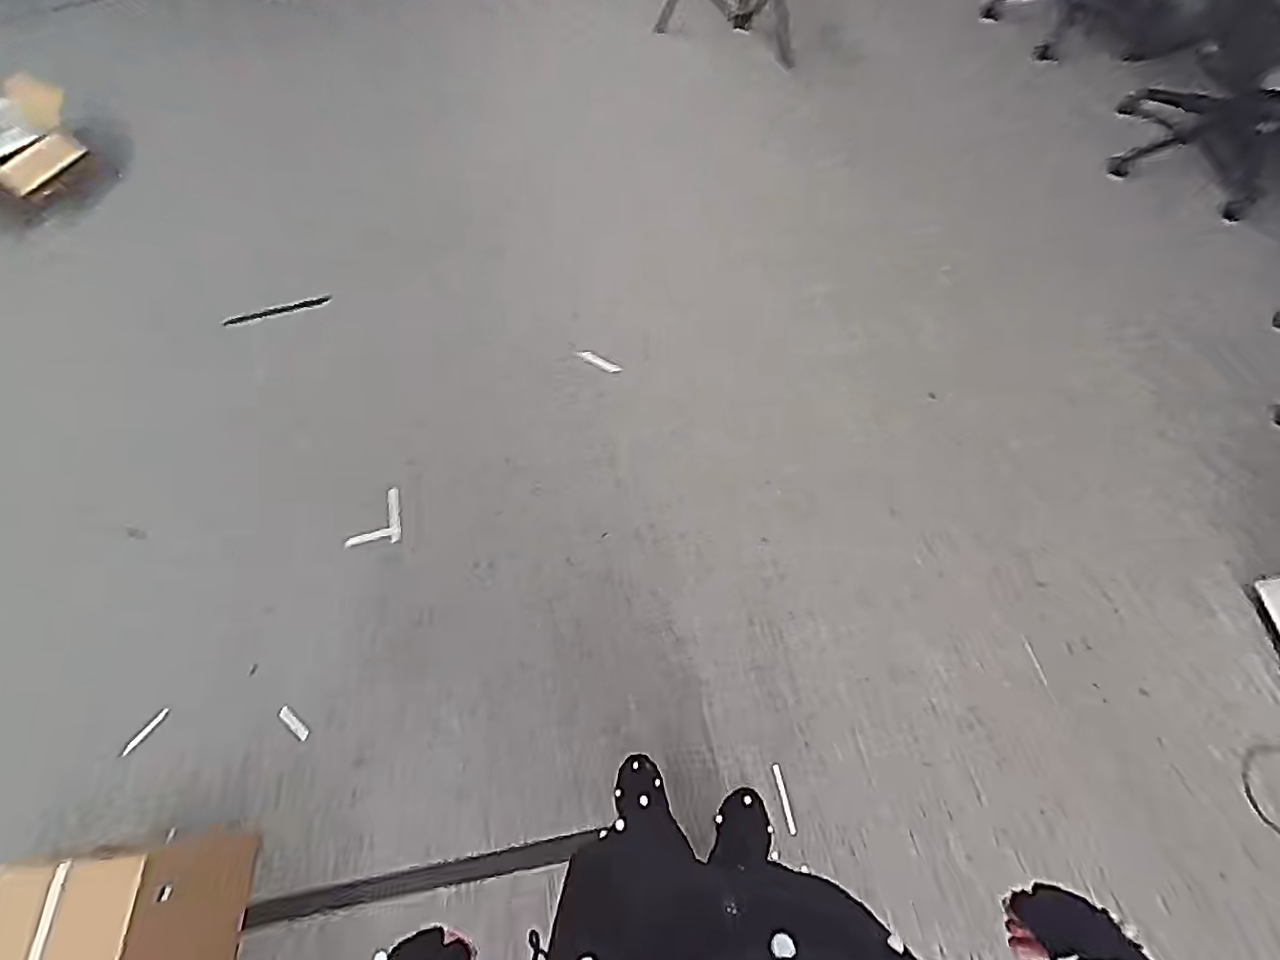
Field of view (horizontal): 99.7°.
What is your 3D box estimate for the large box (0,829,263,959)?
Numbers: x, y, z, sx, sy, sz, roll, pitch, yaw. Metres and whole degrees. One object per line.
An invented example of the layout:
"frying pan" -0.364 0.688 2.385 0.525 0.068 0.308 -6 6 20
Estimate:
"large box" -1.029 0.959 1.066 0.320 0.320 0.408 -6 64 2
